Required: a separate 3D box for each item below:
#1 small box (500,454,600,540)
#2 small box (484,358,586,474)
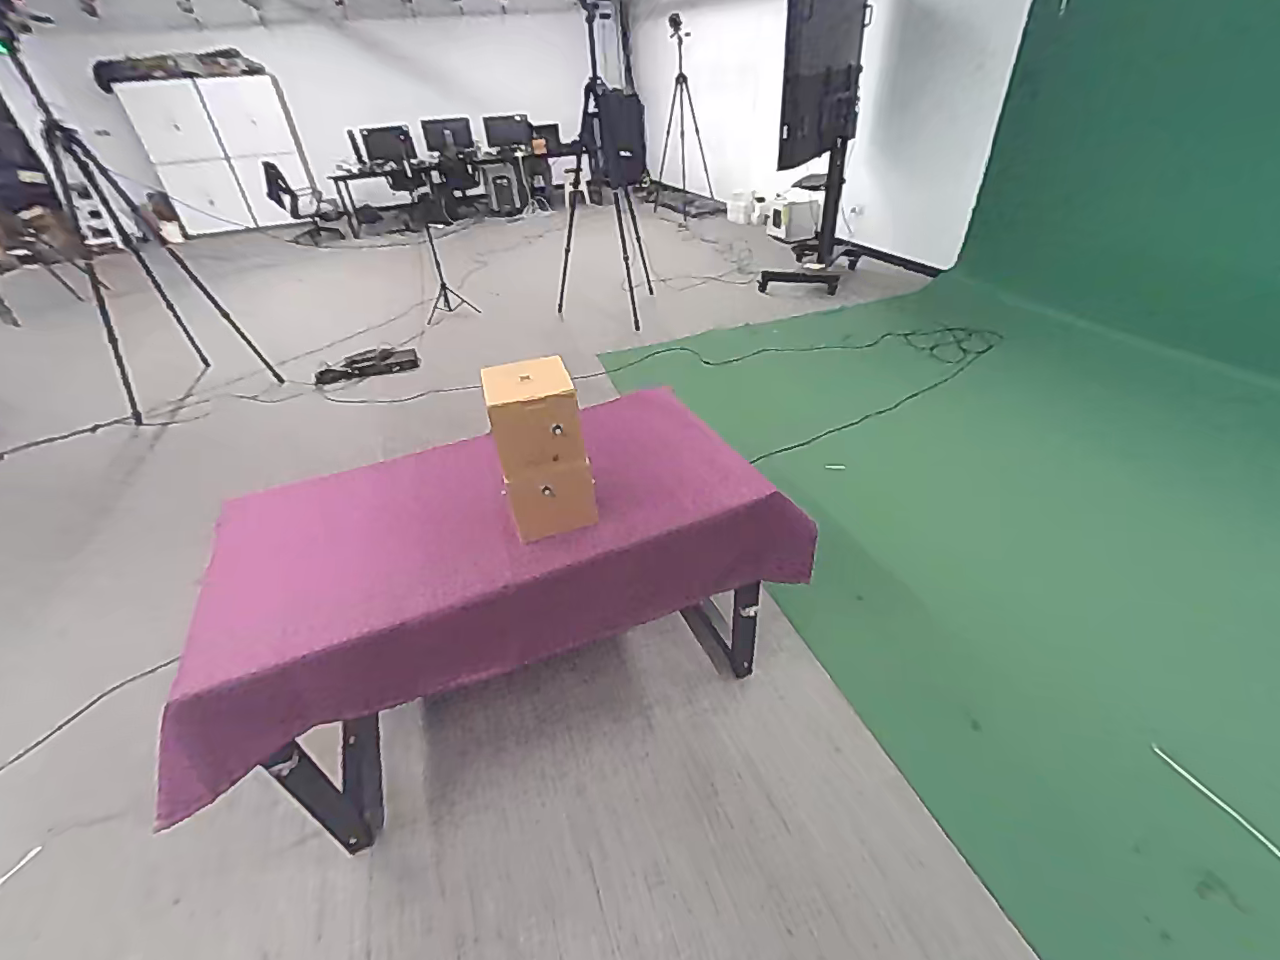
[{"bbox_3d":[-0.198,0.010,1.192,0.179,0.176,0.168,-14,38,-11],"label":"small box"},{"bbox_3d":[-0.213,-0.125,1.102,0.168,0.176,0.179,-13,36,-11],"label":"small box"}]
